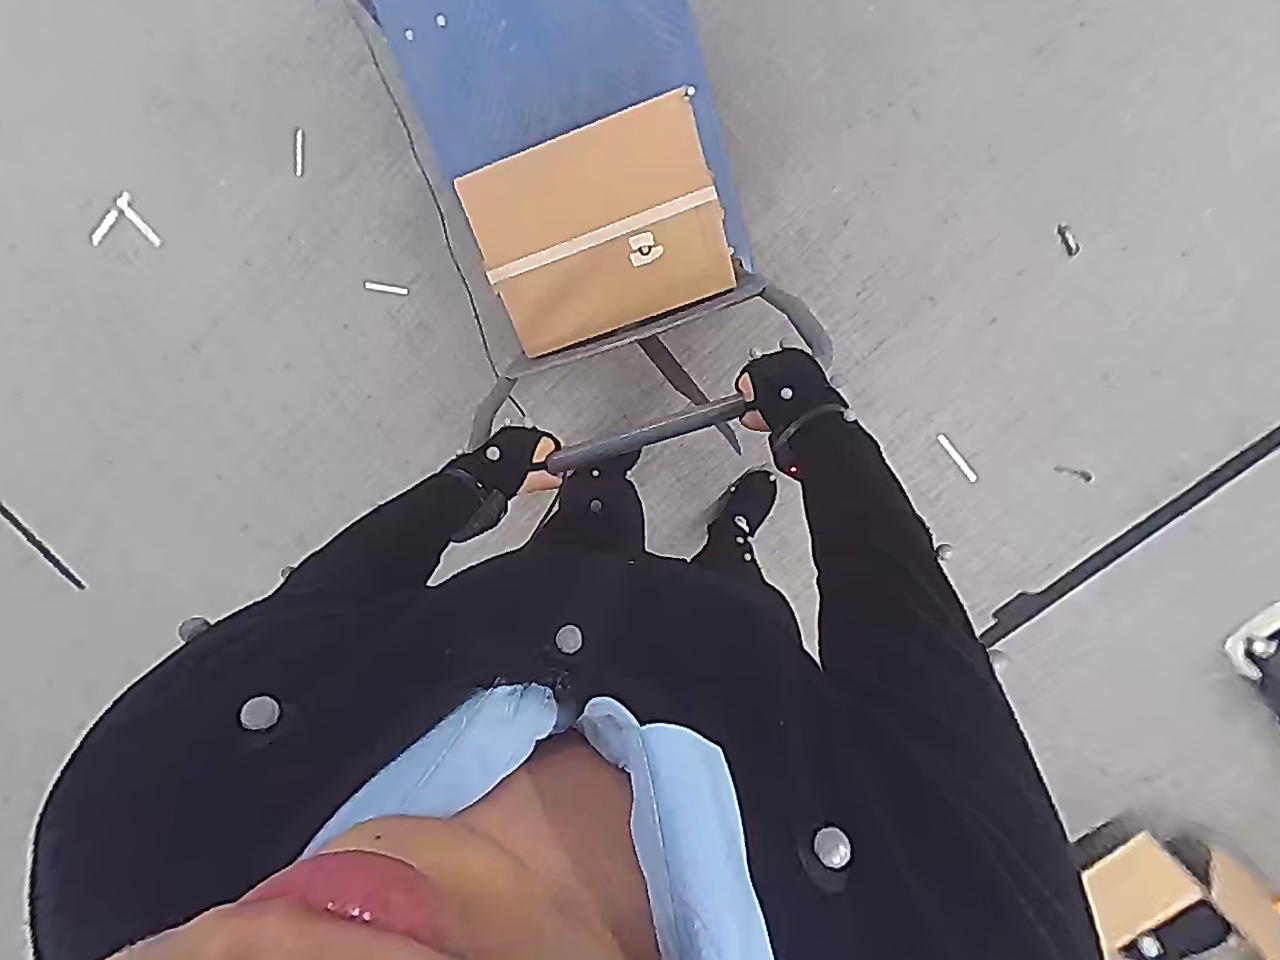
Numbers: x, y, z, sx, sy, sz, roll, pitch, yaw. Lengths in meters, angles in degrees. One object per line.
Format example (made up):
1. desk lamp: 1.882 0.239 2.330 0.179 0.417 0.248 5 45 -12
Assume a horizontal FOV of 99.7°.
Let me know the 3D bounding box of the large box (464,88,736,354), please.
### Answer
1. large box: -0.065 -0.486 1.073 0.408 0.320 0.320 -18 113 7
